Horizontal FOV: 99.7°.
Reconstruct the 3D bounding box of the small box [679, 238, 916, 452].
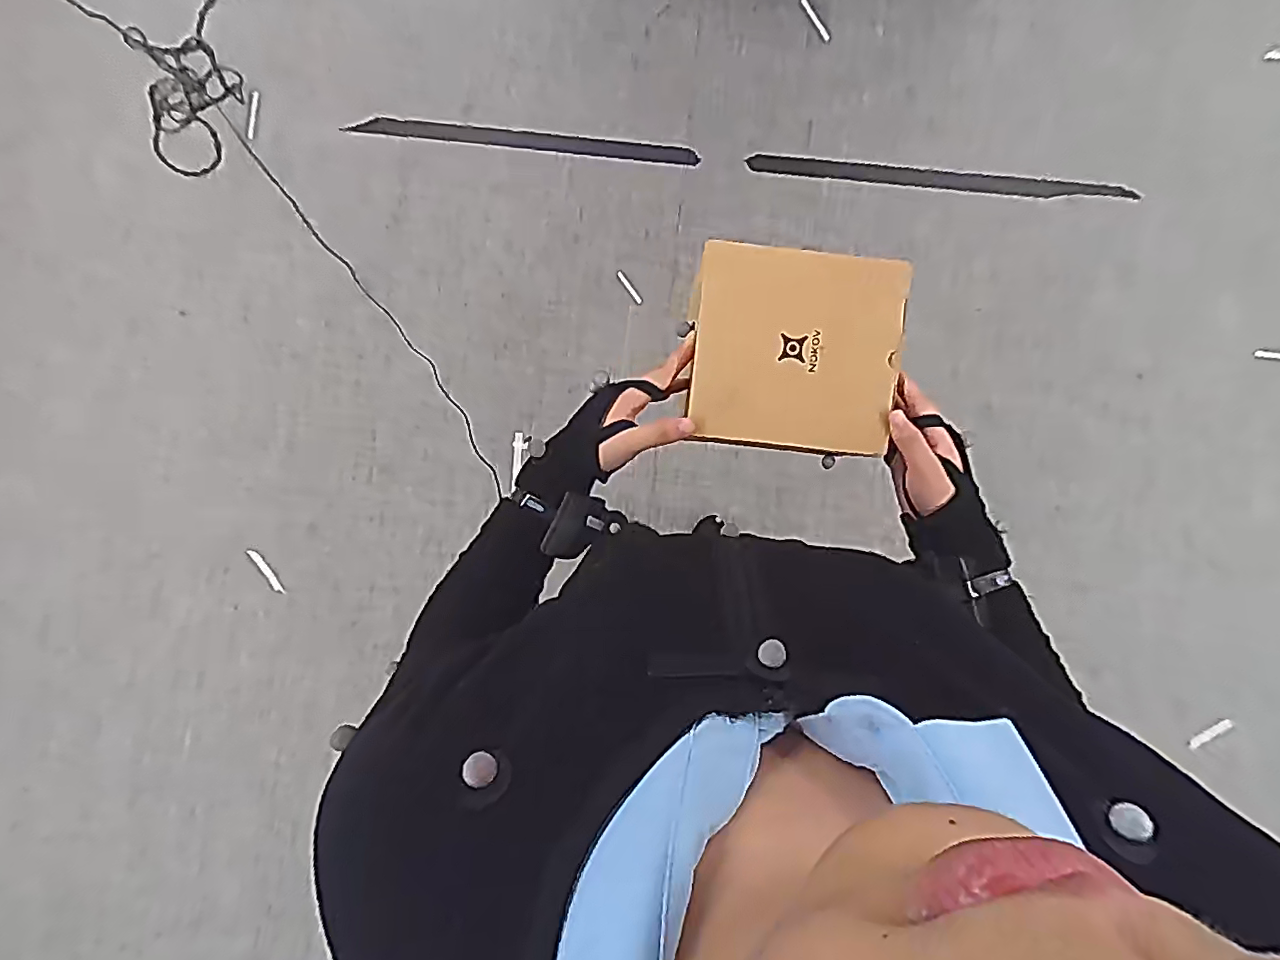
[{"bbox_3d":[0.136,-0.117,0.532,0.179,0.176,0.168,6,94,-1],"label":"small box"}]
